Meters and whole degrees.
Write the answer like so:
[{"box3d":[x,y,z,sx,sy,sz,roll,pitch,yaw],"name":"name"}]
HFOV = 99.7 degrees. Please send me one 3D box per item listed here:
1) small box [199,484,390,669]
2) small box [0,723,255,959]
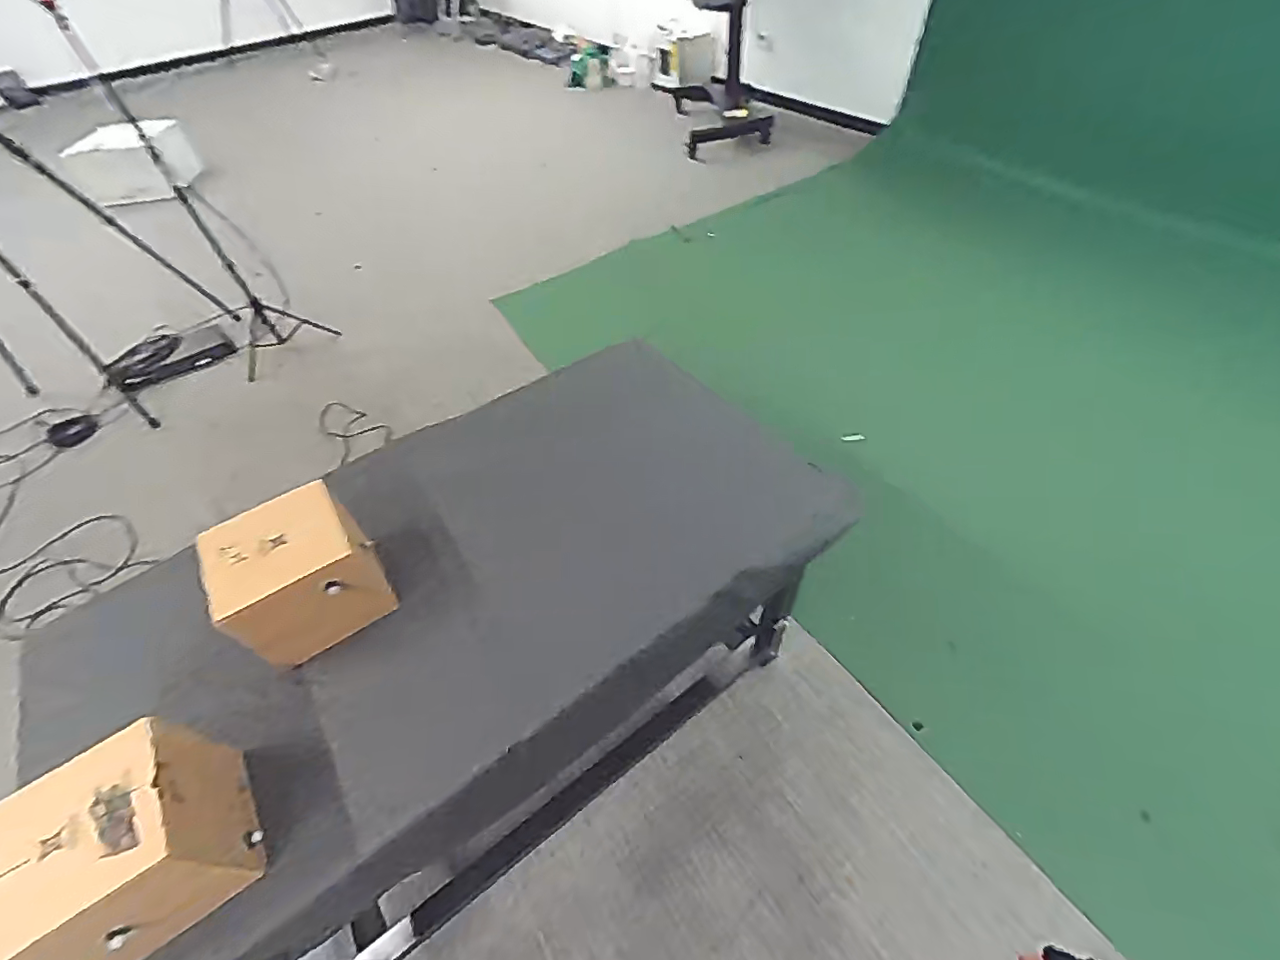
[{"box3d":[-0.499,0.145,0.805,0.179,0.176,0.168,-30,55,-19],"name":"small box"},{"box3d":[-0.560,0.409,0.590,0.179,0.176,0.168,-32,54,-20],"name":"small box"}]
